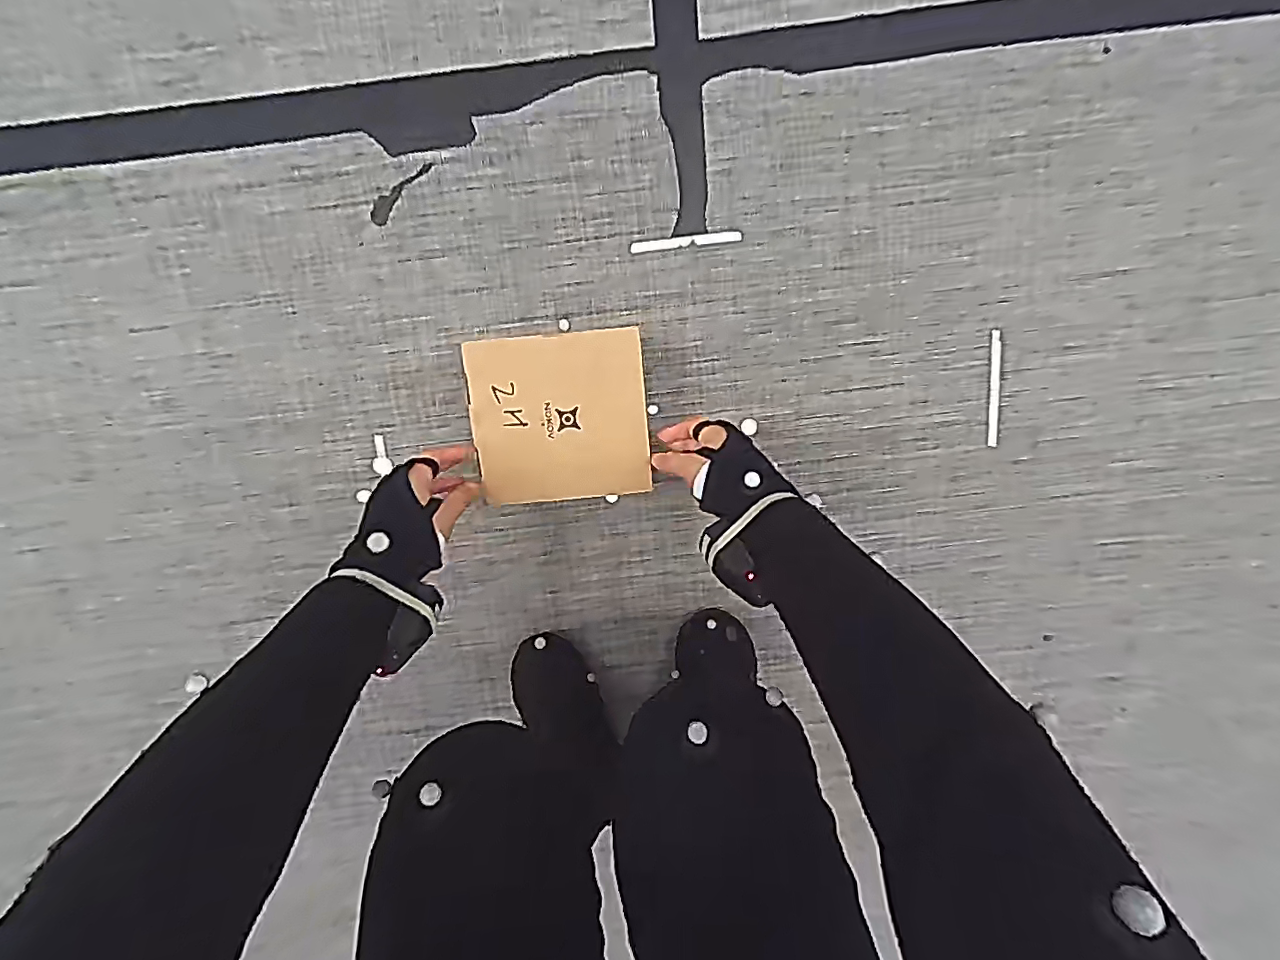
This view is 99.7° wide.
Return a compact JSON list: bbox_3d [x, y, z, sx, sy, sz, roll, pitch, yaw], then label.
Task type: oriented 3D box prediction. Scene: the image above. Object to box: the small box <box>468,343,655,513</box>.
[{"bbox_3d":[-0.080,-0.067,0.624,0.179,0.176,0.168,-5,101,0],"label":"small box"}]
